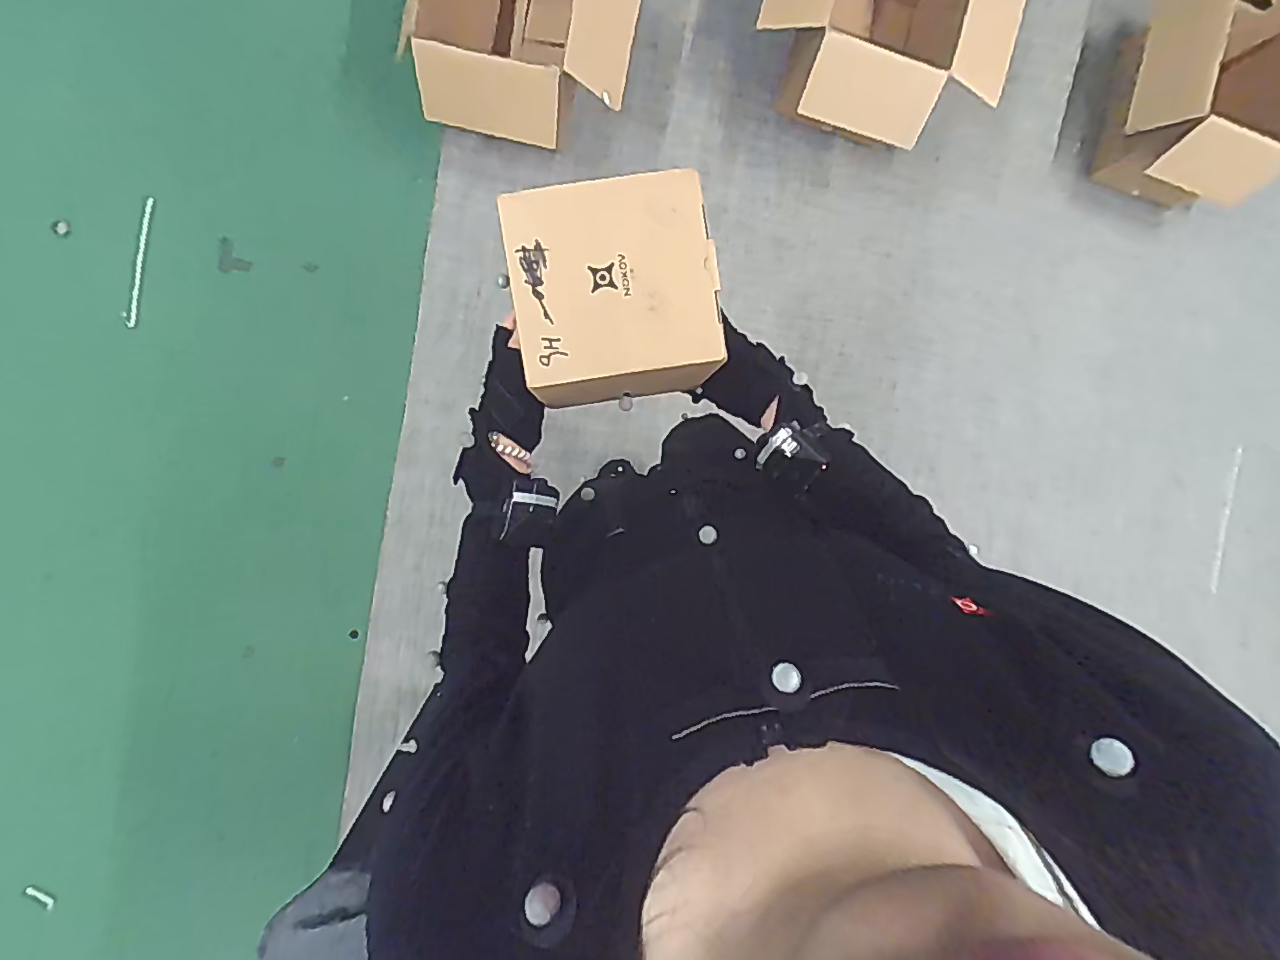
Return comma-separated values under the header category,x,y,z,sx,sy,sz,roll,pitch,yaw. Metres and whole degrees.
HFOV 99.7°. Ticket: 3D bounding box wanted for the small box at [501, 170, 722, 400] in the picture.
category,x,y,z,sx,sy,sz,roll,pitch,yaw
small box,-0.029,-0.179,0.543,0.179,0.176,0.168,-8,91,-4
